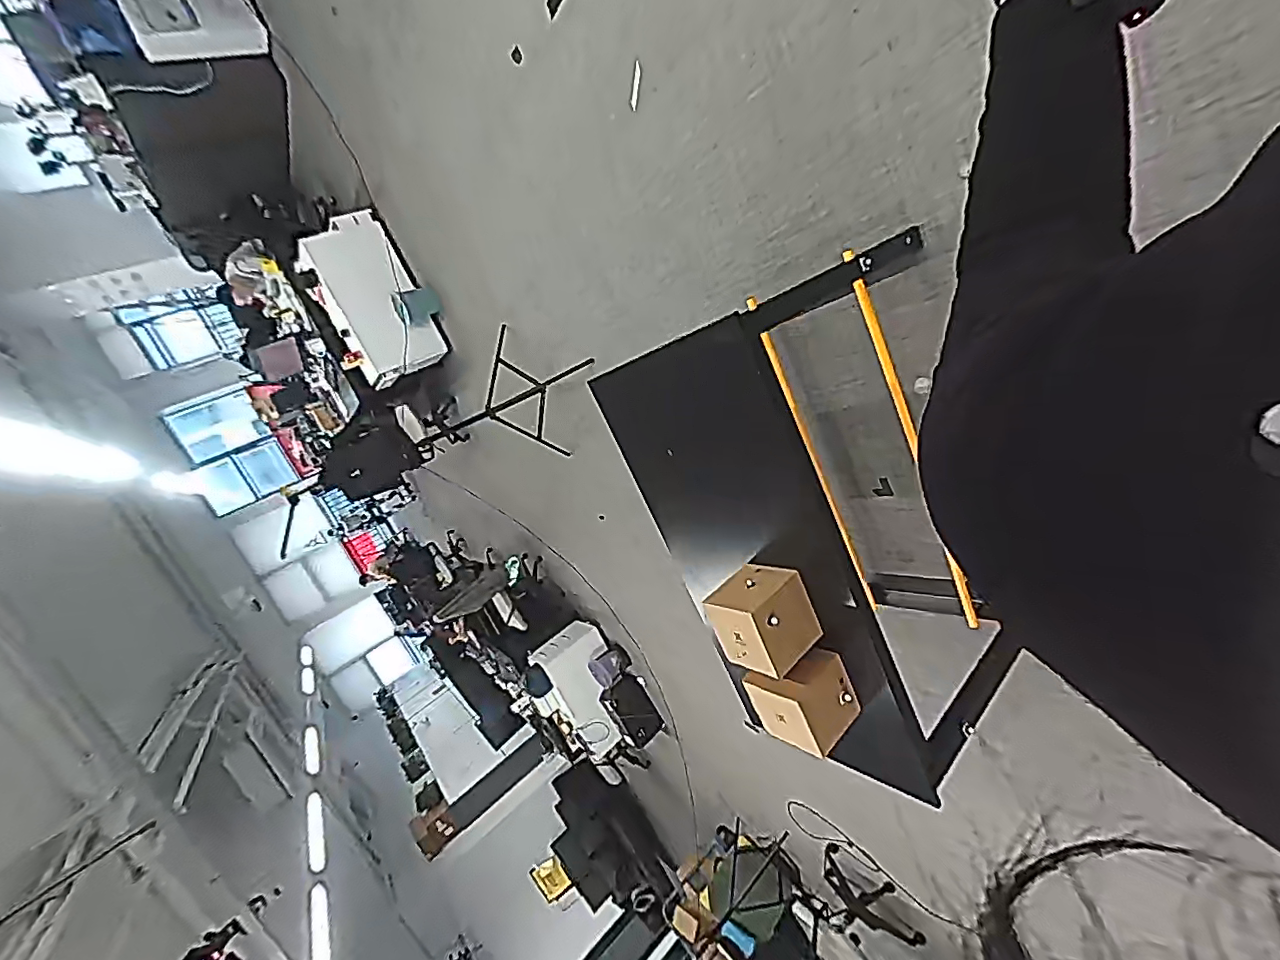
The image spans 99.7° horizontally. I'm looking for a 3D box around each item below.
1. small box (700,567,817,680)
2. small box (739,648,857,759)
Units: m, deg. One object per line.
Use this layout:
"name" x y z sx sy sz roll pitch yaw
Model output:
"small box" 0.275 0.320 1.249 0.168 0.176 0.179 -3 116 58
"small box" 0.376 0.511 1.285 0.179 0.176 0.168 -7 114 57
